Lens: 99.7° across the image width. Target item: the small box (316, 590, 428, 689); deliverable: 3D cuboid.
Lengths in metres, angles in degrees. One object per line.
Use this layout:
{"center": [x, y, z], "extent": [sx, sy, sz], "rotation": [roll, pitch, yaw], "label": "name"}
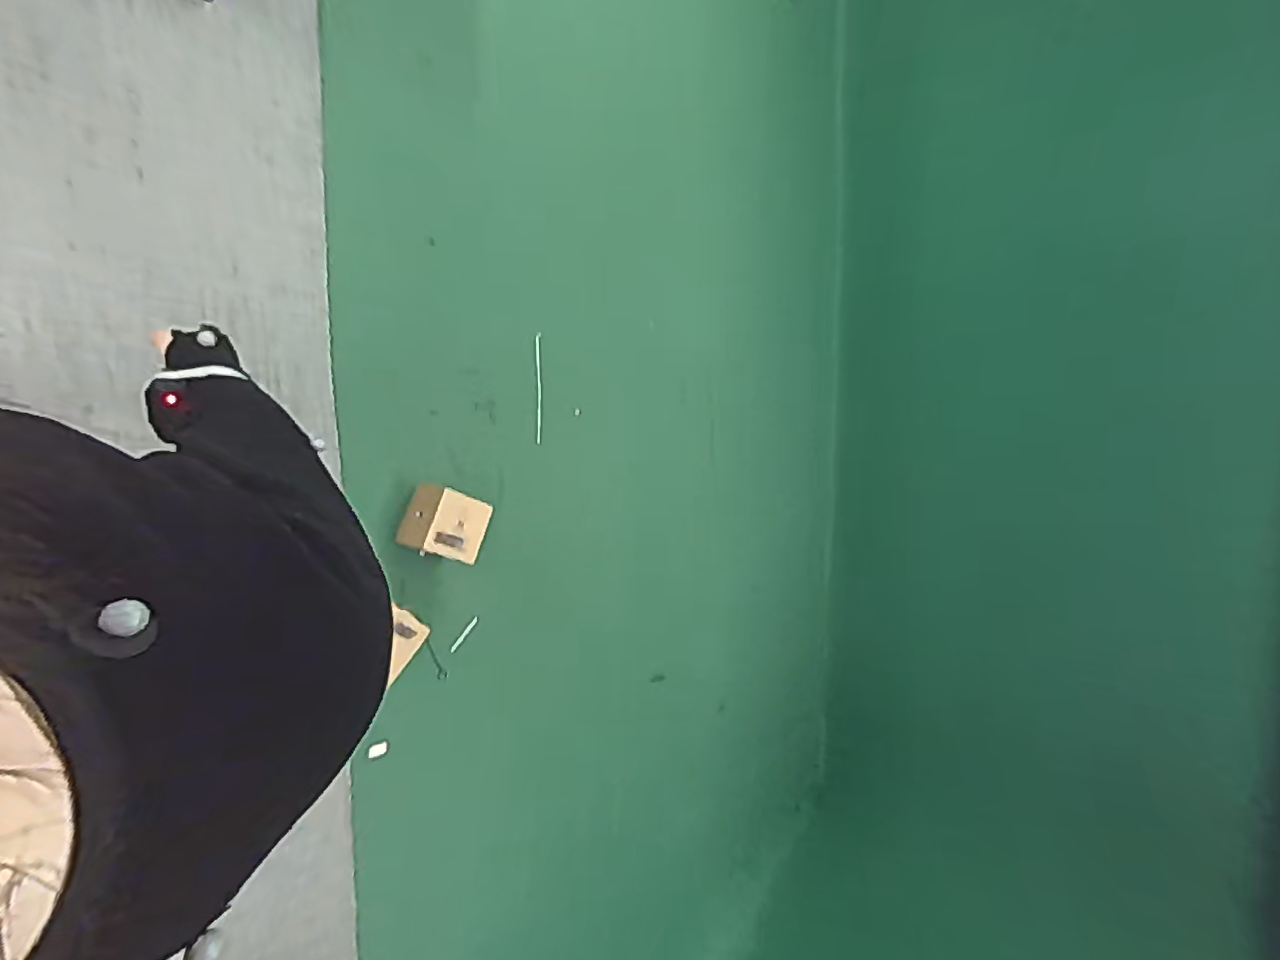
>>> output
{"center": [-0.706, 0.411, 1.420], "extent": [0.179, 0.176, 0.168], "rotation": [-57, 131, -27], "label": "small box"}
